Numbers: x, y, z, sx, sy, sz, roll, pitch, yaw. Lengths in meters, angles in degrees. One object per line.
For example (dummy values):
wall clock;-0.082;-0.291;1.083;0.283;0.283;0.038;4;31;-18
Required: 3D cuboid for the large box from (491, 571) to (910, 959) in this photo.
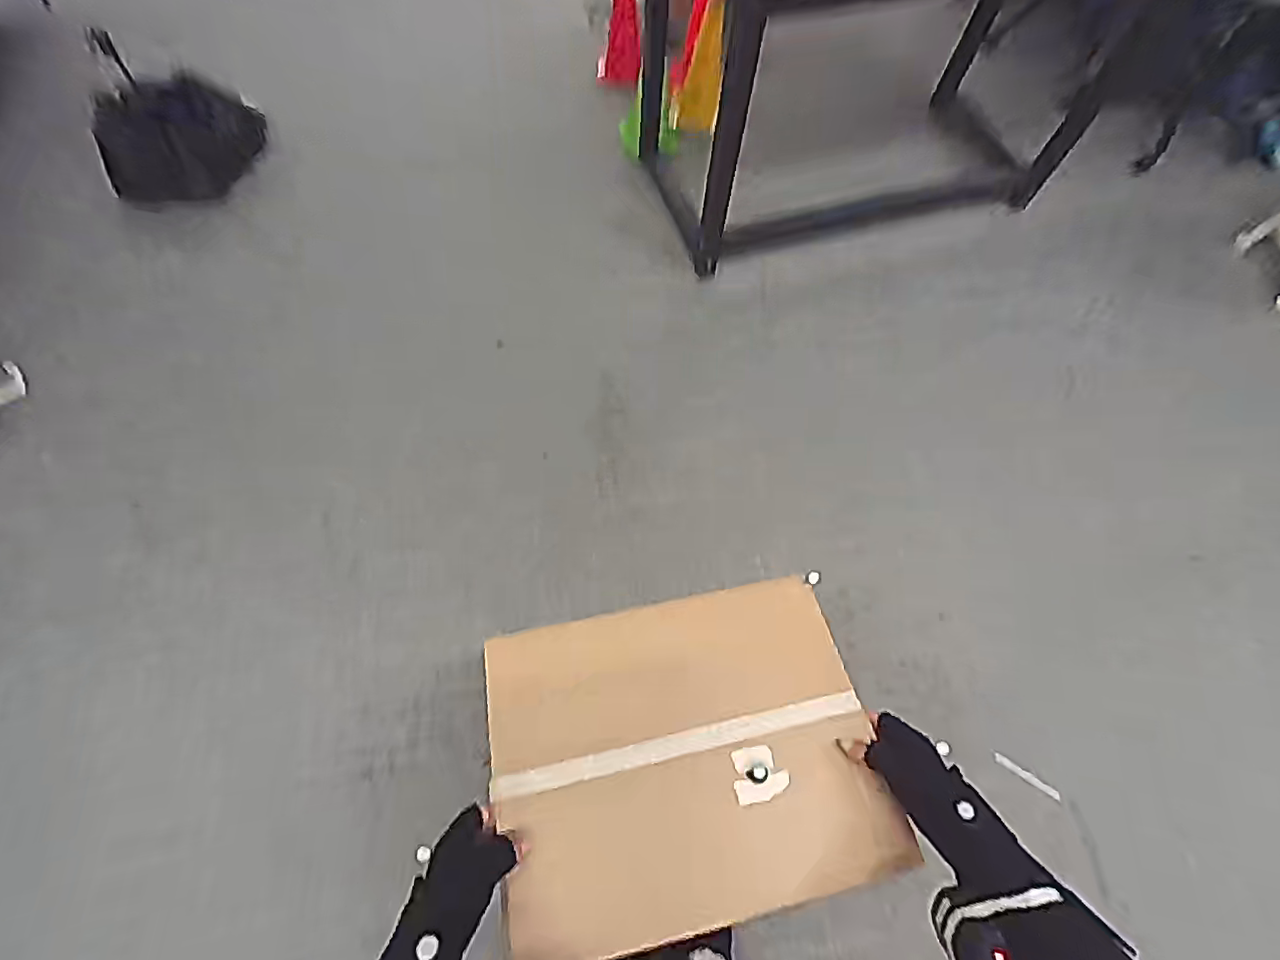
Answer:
large box;0.045;0.359;0.719;0.408;0.320;0.320;-10;59;-8
